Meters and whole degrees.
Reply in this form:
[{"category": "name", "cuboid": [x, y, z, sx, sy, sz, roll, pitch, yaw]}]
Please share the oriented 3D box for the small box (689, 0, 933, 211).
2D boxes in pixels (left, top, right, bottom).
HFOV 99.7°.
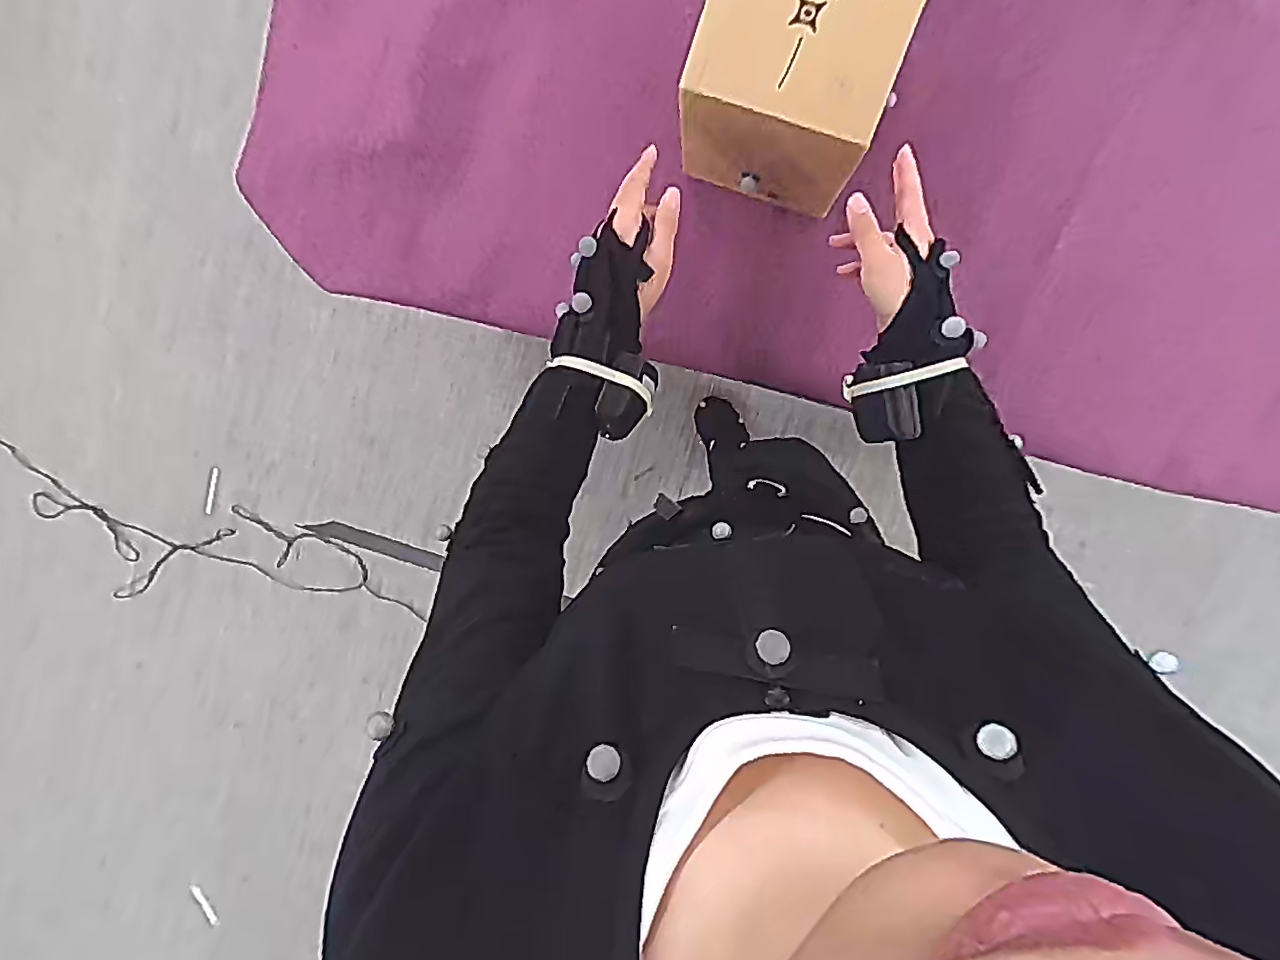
[{"category": "small box", "cuboid": [0.149, -0.387, 0.499, 0.168, 0.176, 0.179, 21, 99, 3]}]
